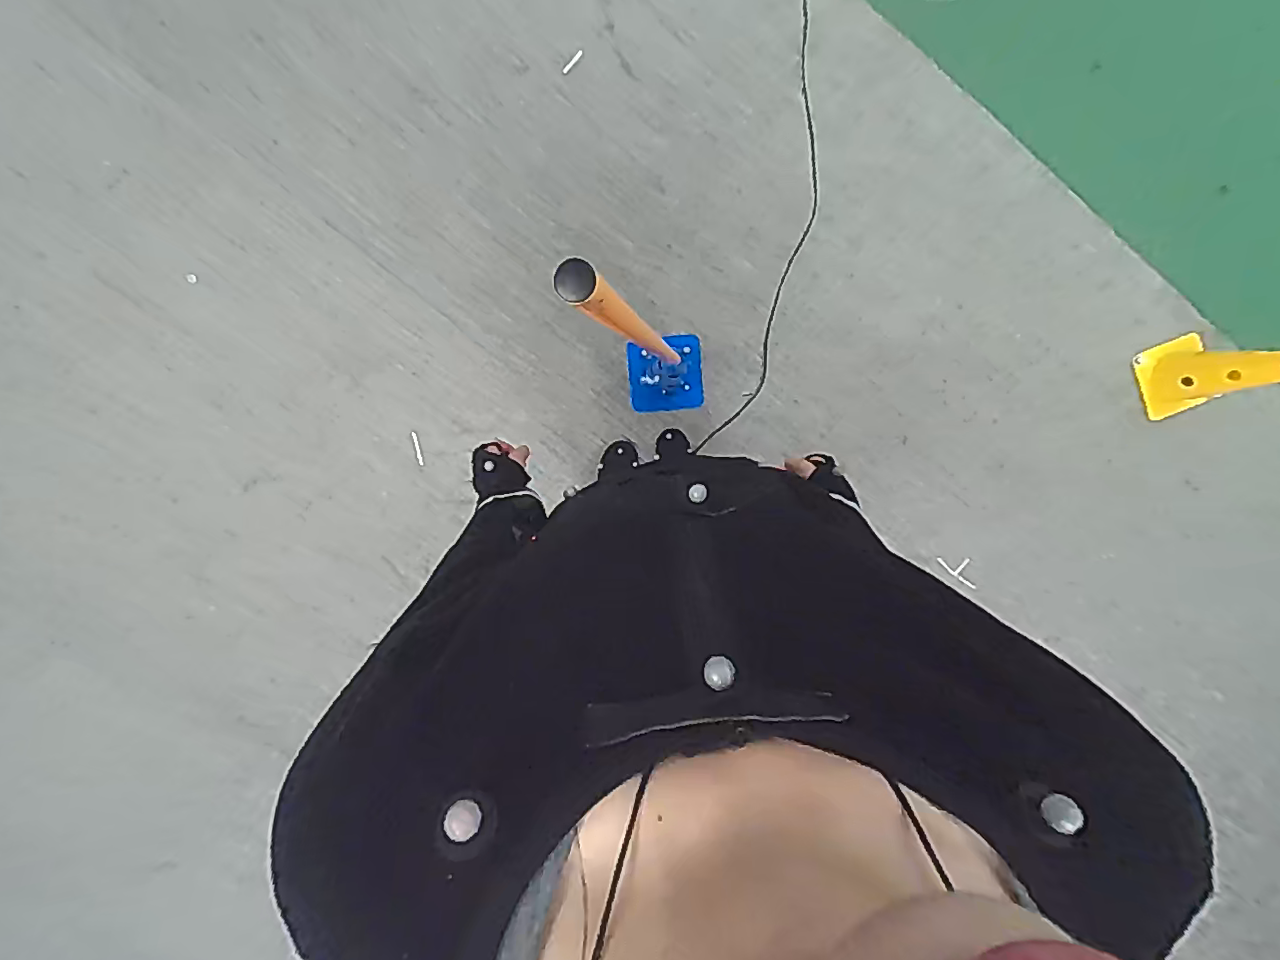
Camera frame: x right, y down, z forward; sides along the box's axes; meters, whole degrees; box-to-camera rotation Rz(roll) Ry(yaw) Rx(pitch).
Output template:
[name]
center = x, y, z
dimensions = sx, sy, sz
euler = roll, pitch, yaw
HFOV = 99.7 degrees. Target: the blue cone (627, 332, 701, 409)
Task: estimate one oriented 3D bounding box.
[blue cone]
center = 0.066, -0.274, 1.290
dimensions = 0.193, 0.380, 0.192
euler = -6, 97, 1
